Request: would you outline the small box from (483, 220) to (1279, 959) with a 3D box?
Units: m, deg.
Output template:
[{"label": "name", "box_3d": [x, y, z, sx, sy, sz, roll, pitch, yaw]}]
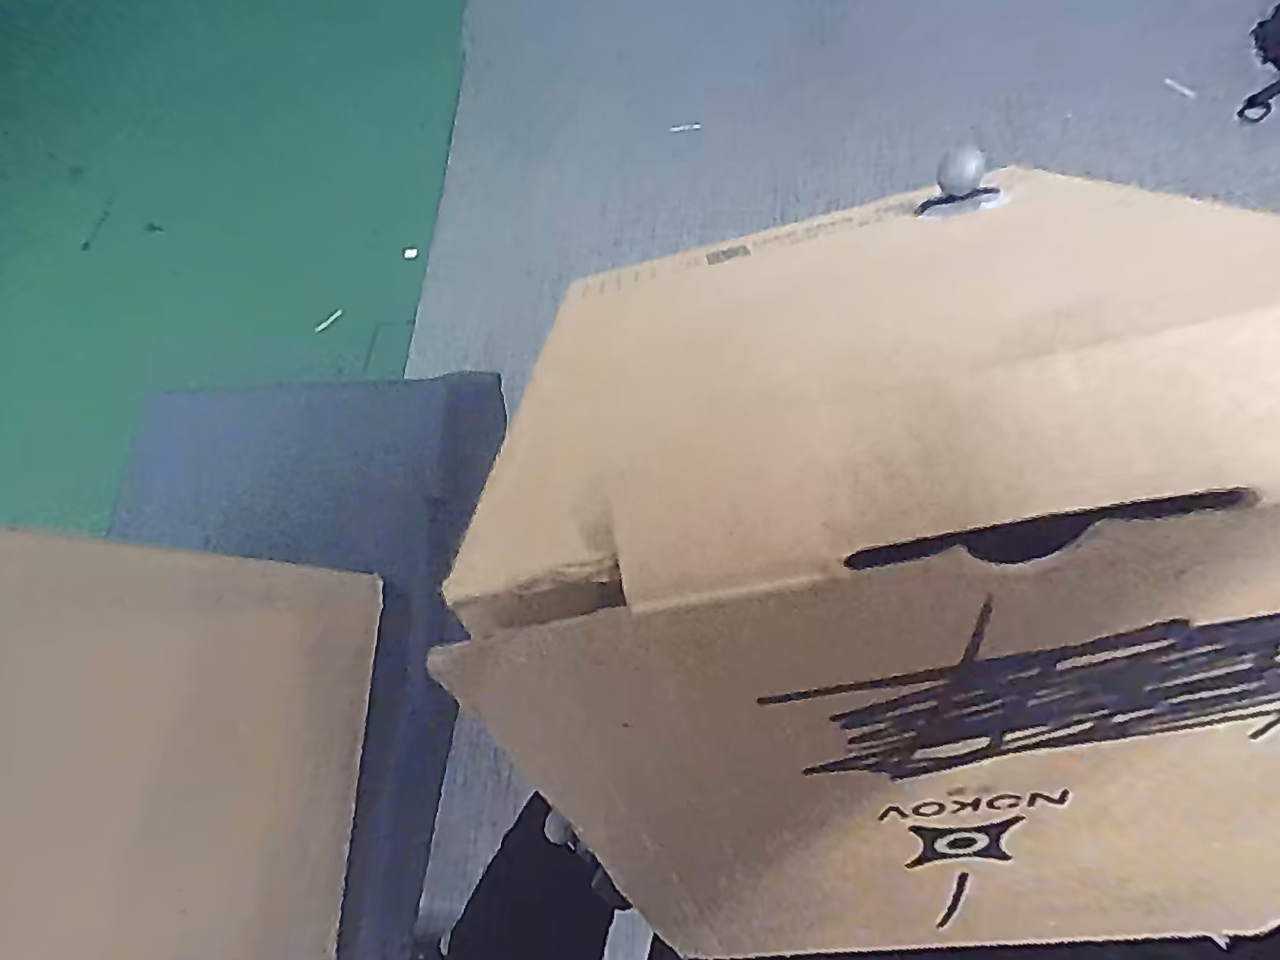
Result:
[{"label": "small box", "box_3d": [0.075, 0.028, 0.181, 0.168, 0.179, 0.176, -11, 33, 10]}]
